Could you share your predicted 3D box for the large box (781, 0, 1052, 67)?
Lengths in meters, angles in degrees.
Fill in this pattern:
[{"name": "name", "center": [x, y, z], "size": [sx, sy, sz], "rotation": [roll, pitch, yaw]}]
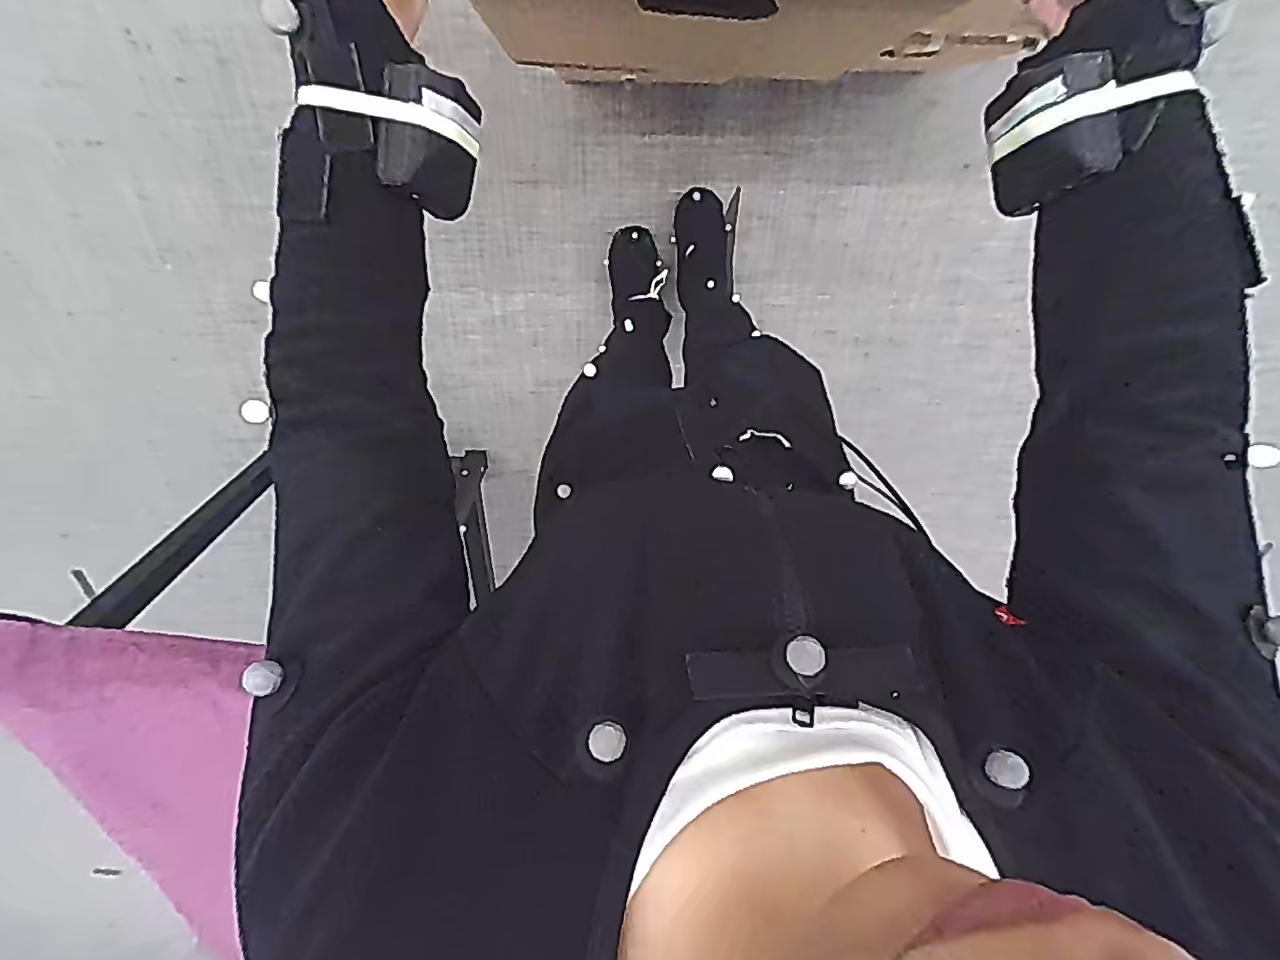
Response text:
[{"name": "large box", "center": [0.422, -0.883, 0.804], "size": [0.320, 0.320, 0.408], "rotation": [-1, 122, -2]}]
